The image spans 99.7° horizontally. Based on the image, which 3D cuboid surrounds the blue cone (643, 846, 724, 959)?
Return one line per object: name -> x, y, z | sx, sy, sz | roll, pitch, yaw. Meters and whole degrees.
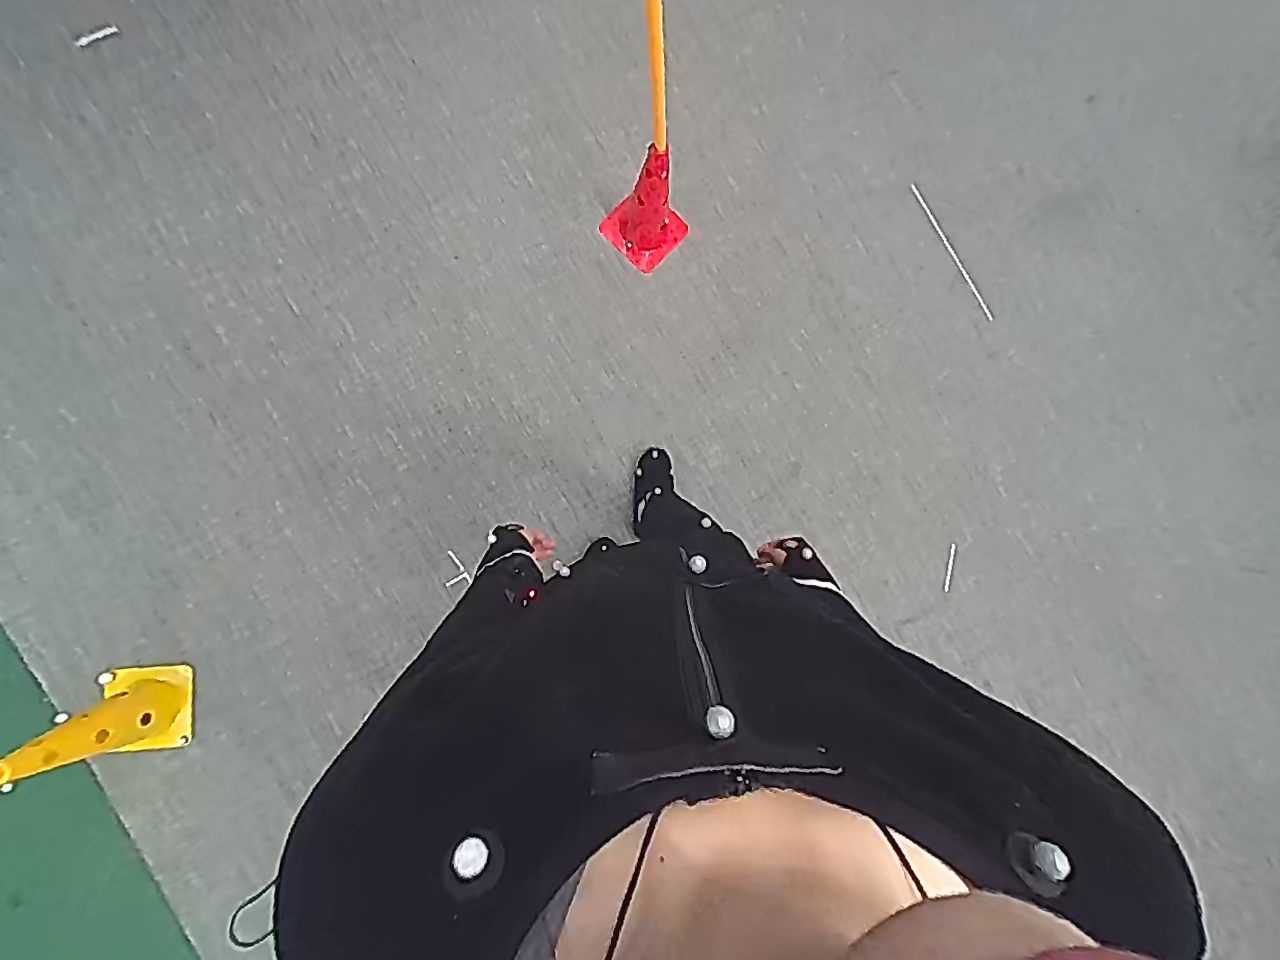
blue cone -> 0.138, 1.063, 1.273 | 0.193, 0.380, 0.192 | 15, 83, -8
